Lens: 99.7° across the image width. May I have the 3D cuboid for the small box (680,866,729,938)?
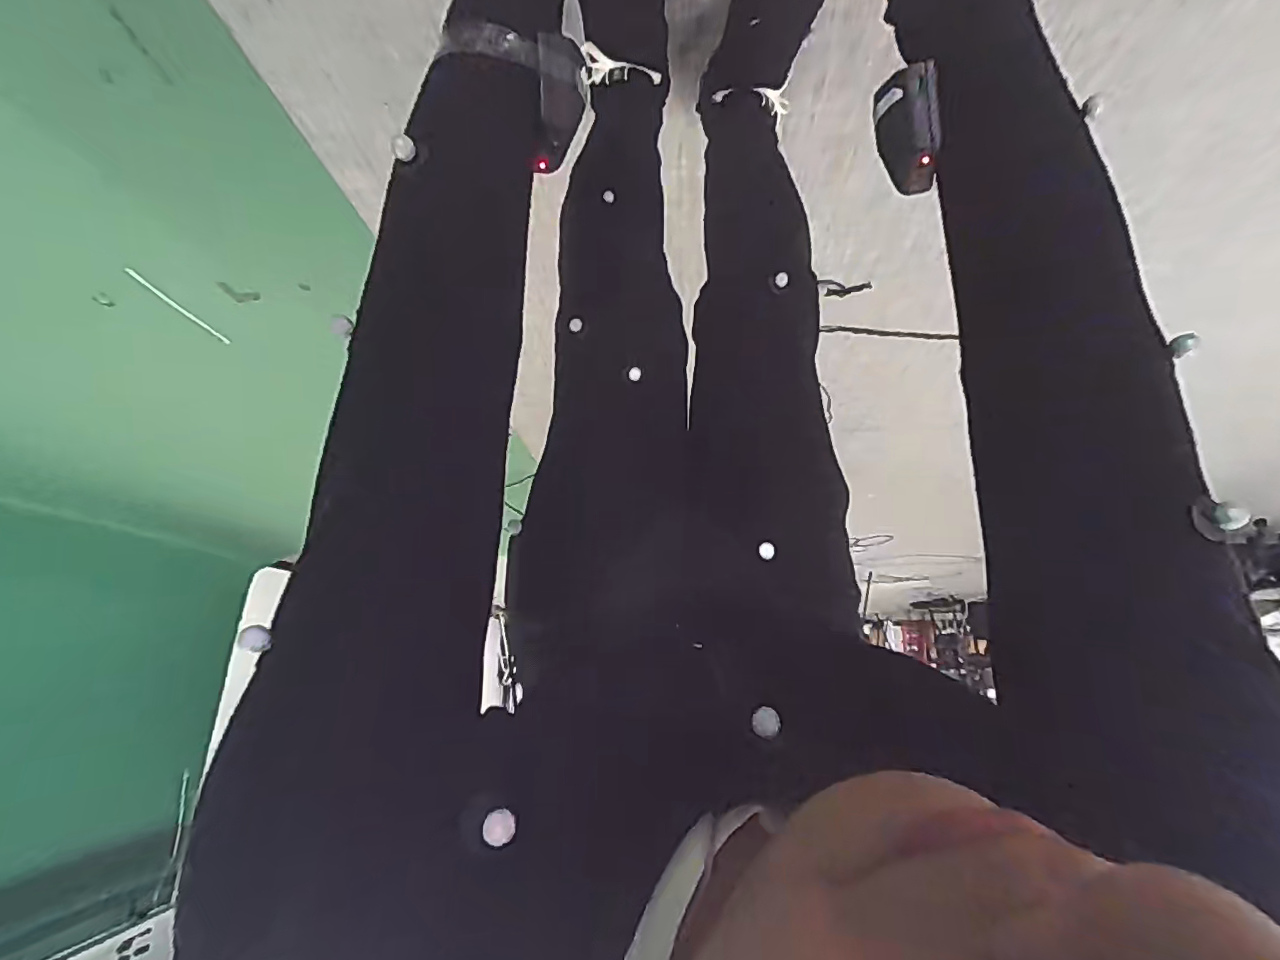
[{"bbox_3d":[0.242,1.593,2.052,0.179,0.176,0.168,1,162,3],"label":"small box"}]
